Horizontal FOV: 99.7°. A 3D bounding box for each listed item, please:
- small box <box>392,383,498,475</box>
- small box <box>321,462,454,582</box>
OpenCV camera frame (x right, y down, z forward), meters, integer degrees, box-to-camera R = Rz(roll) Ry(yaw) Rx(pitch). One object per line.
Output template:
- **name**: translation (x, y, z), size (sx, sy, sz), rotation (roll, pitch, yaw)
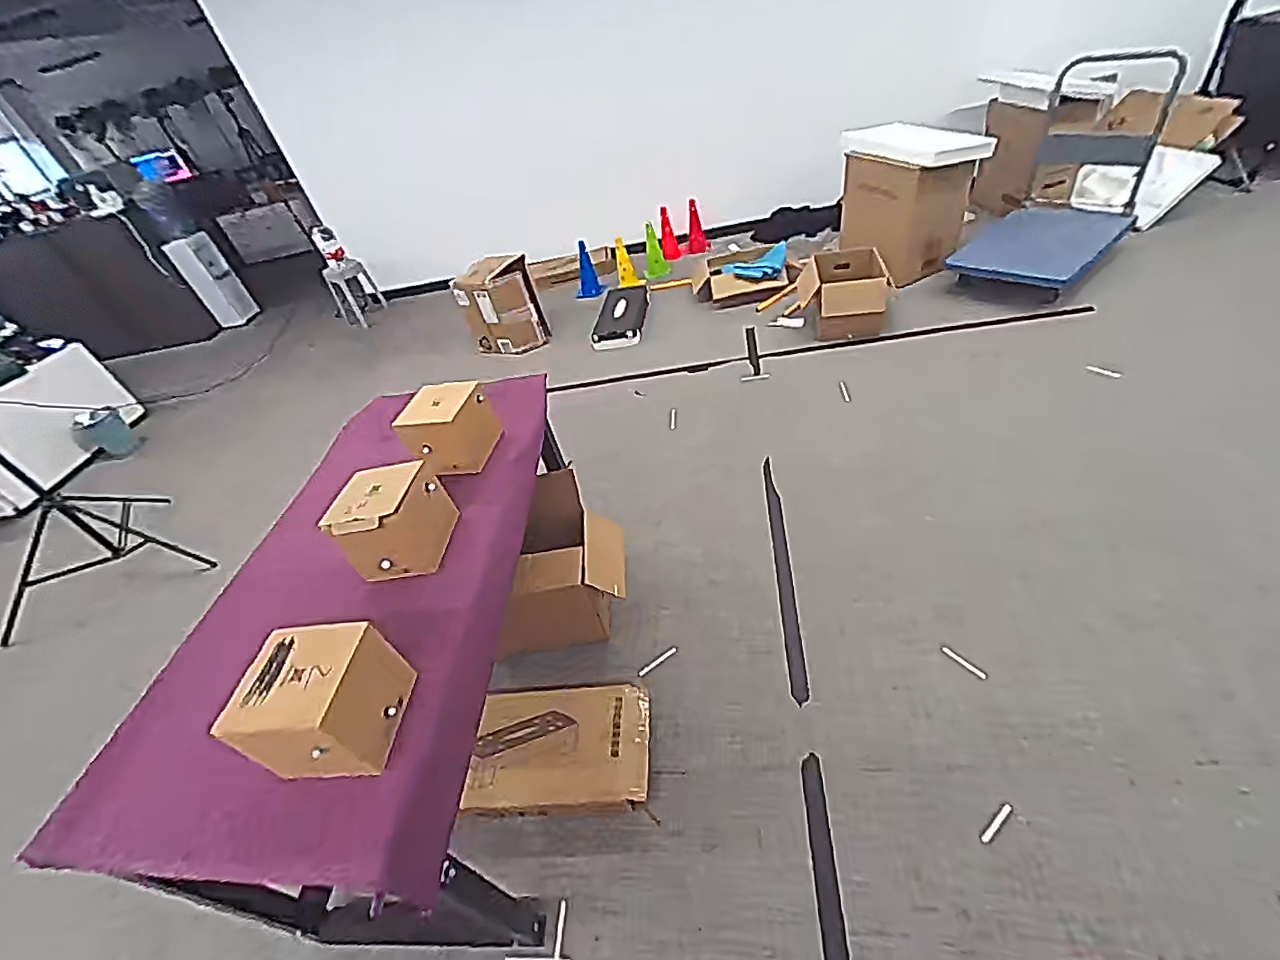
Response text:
- **small box**: translation (-0.483, -0.123, 1.373), size (0.168, 0.176, 0.179), rotation (-3, 42, 14)
- **small box**: translation (-0.516, 0.090, 1.139), size (0.168, 0.176, 0.179), rotation (-10, 41, 11)
